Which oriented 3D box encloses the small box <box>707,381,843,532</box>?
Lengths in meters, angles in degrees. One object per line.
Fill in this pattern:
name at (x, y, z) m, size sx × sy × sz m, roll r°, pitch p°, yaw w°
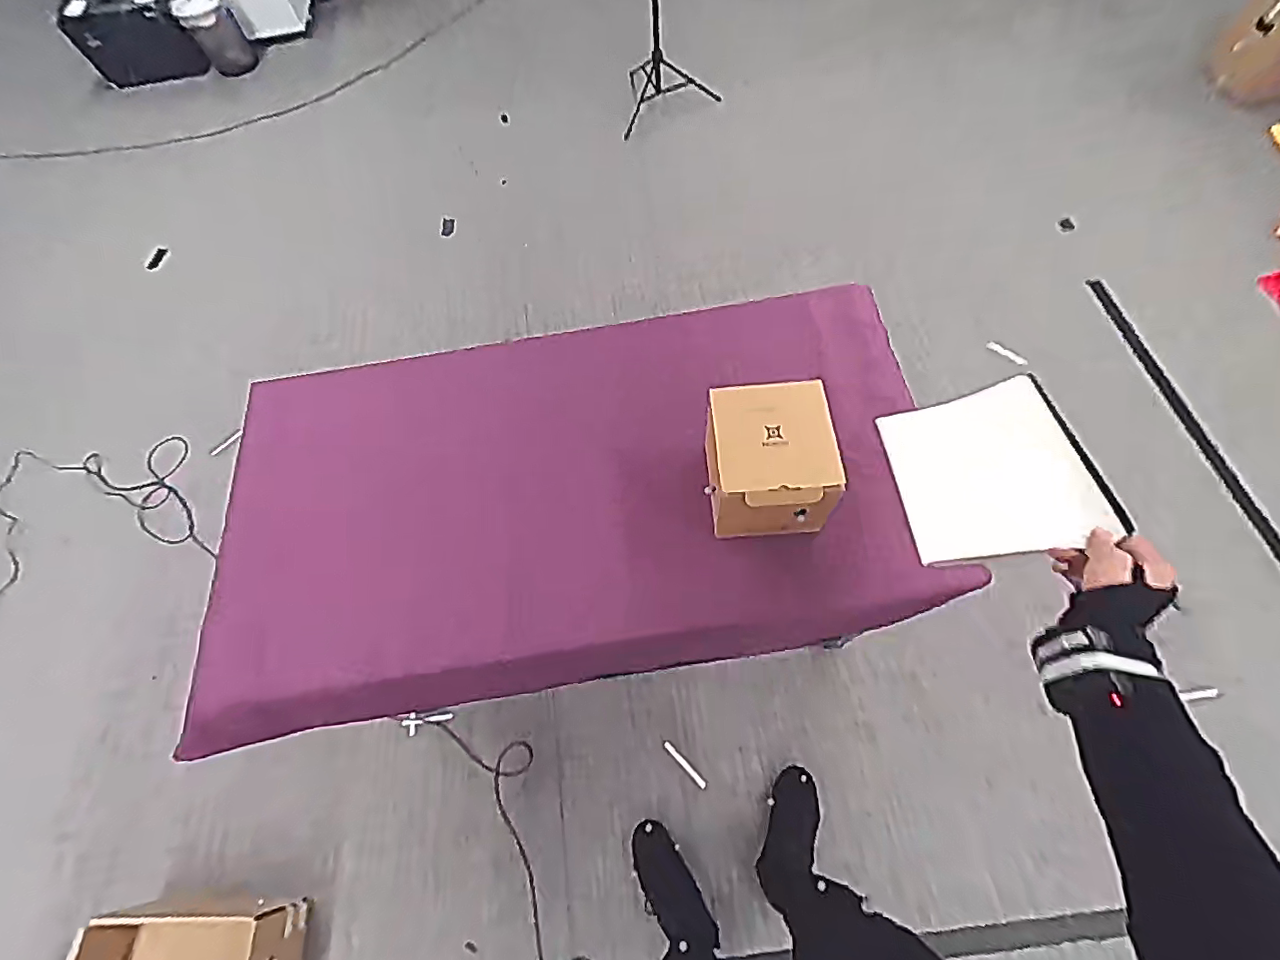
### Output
small box at (0.191, -0.026, 0.819) m, size 0.168 × 0.176 × 0.179 m, roll -4°, pitch 63°, yaw 3°
